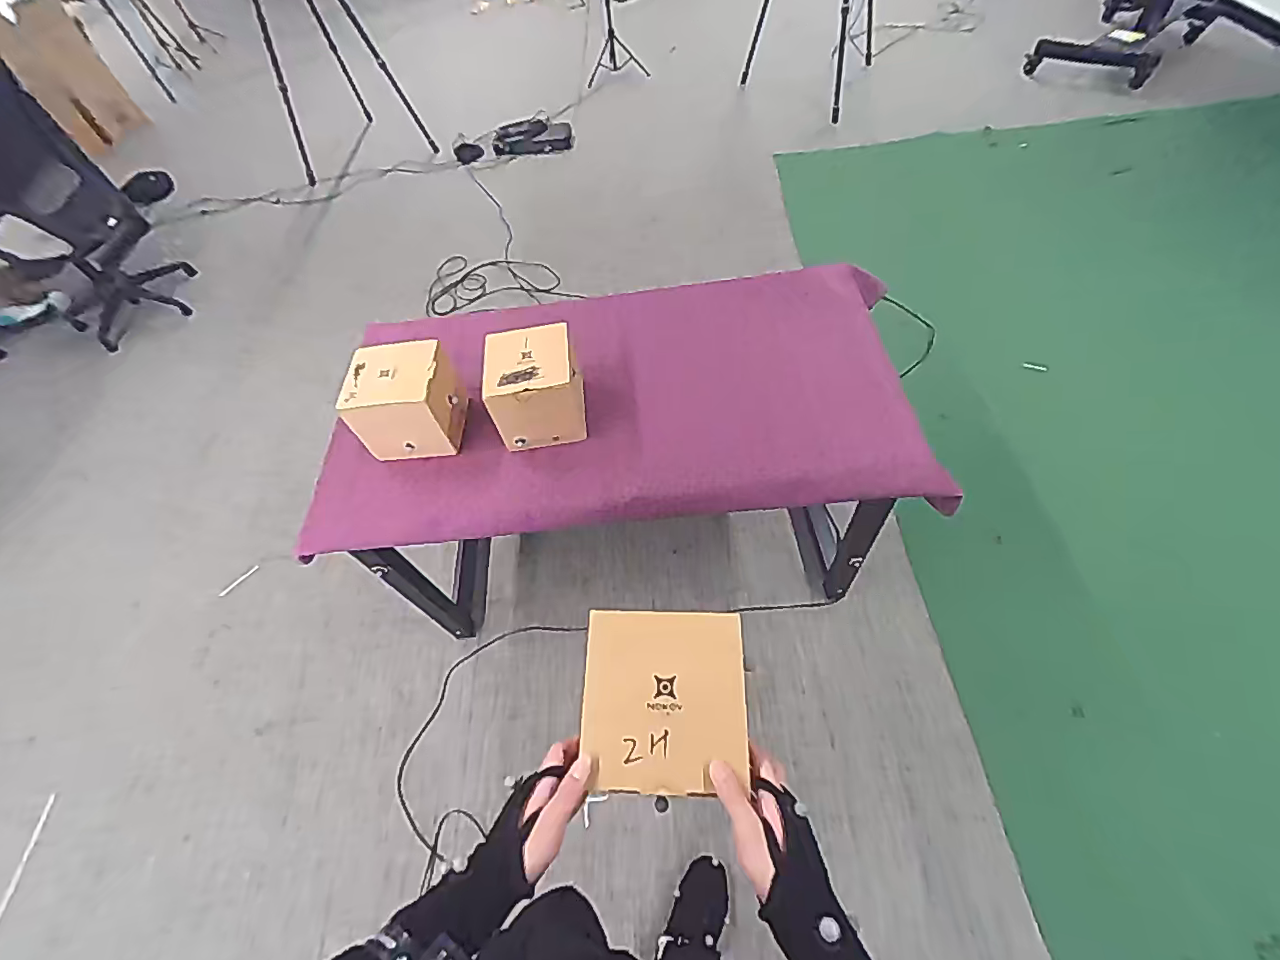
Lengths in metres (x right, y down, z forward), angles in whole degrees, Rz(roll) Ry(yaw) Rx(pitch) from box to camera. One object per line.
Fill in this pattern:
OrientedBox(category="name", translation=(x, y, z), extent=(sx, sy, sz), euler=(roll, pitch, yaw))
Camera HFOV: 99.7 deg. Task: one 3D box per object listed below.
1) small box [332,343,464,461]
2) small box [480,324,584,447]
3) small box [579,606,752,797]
OrientedBox(category="small box", translation=(-0.476, -0.154, 1.097), extent=(0.179, 0.176, 0.168), euler=(-4, 56, 2))
OrientedBox(category="small box", translation=(-0.210, -0.180, 1.085), extent=(0.168, 0.176, 0.179), euler=(-9, 55, 0))
OrientedBox(category="small box", translation=(0.029, 0.254, 0.612), extent=(0.168, 0.176, 0.179), euler=(1, 60, 3))
